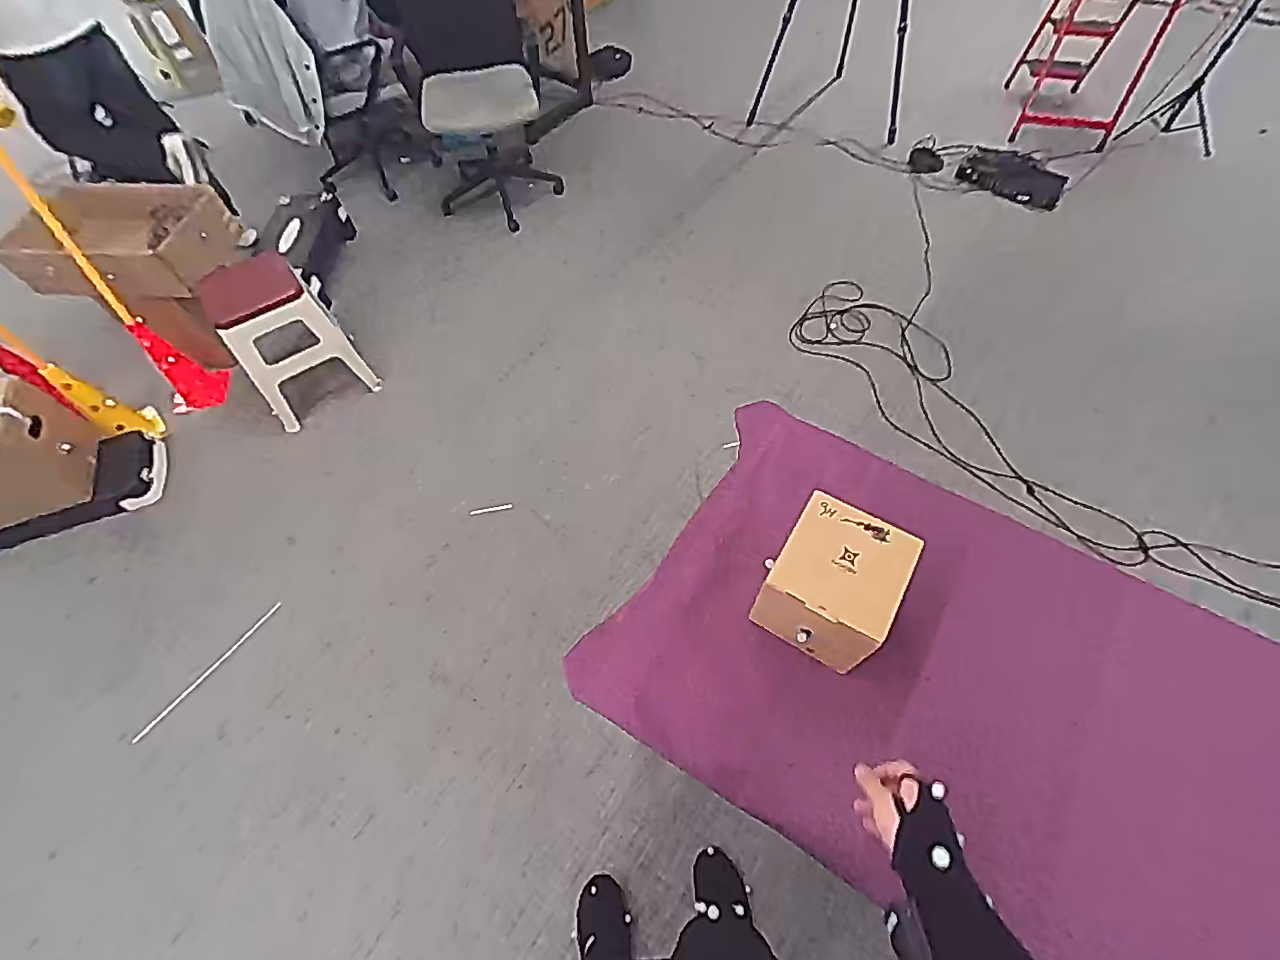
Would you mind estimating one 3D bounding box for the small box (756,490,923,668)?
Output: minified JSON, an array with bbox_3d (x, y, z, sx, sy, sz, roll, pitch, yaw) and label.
[{"bbox_3d":[0.287,0.154,0.811,0.168,0.176,0.179,28,64,18],"label":"small box"}]
